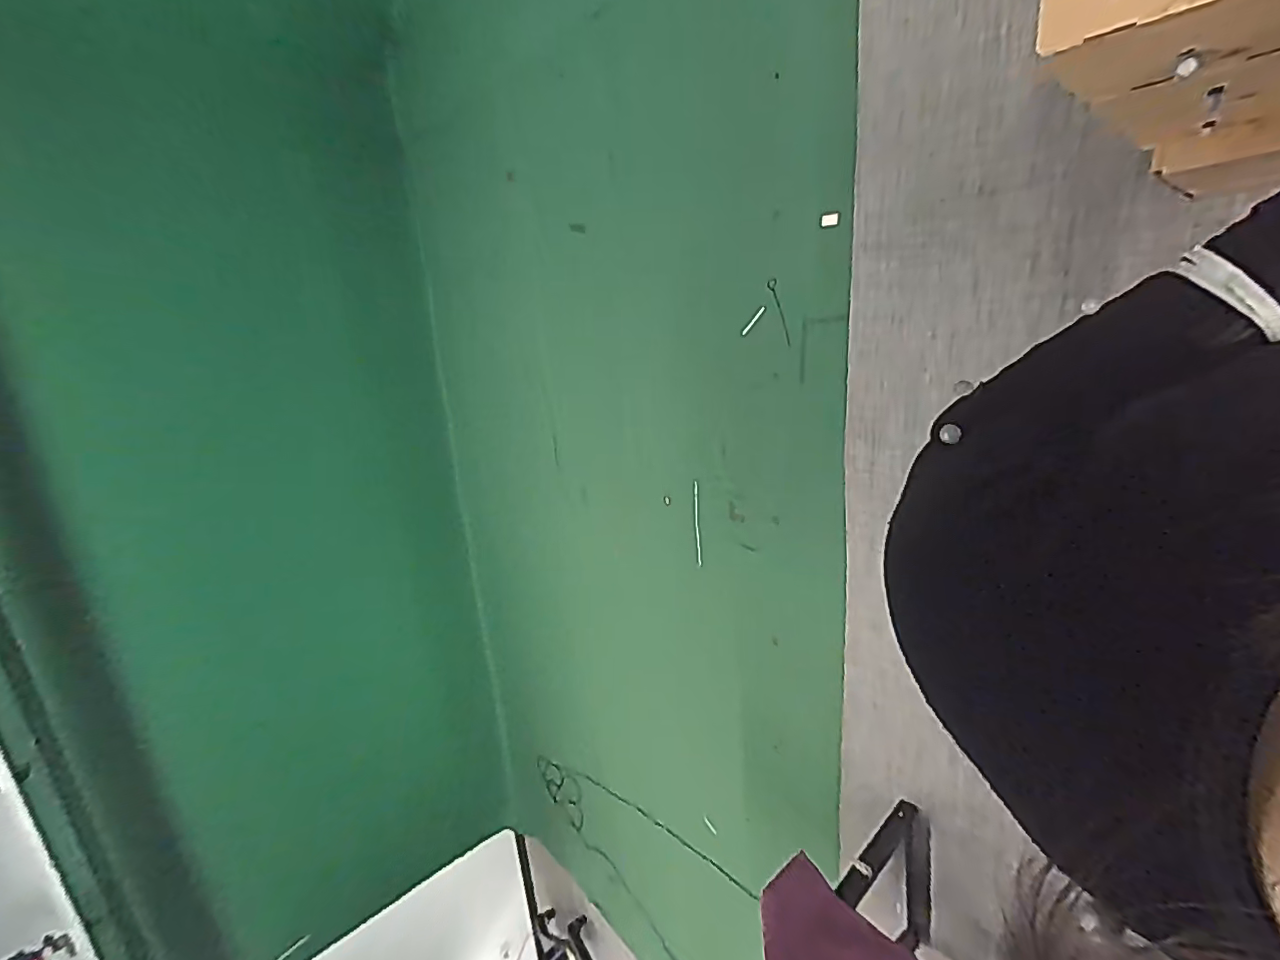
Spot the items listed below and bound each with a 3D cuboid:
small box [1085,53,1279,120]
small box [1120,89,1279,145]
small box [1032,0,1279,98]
[{"bbox_3d":[0.549,-0.460,0.503,0.168,0.176,0.179,14,115,46],"label":"small box"},{"bbox_3d":[0.670,-0.505,0.604,0.168,0.176,0.179,13,114,47],"label":"small box"},{"bbox_3d":[0.423,-0.423,0.402,0.168,0.176,0.179,14,115,47],"label":"small box"}]
